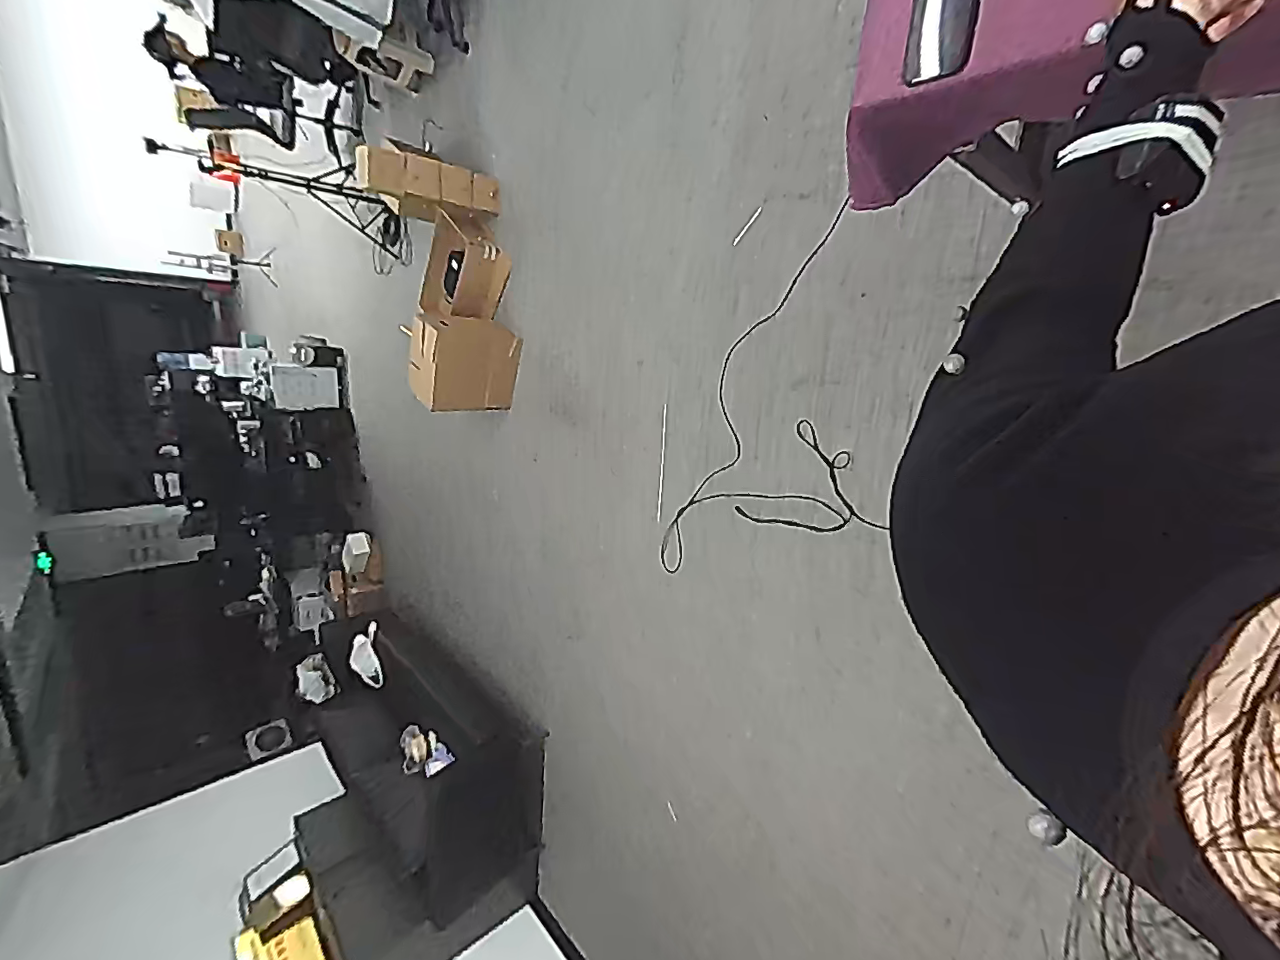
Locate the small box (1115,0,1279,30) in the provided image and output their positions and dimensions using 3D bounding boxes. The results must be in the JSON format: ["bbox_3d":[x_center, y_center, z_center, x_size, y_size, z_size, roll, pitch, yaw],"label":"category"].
[{"bbox_3d":[0.514,-0.526,0.443,0.168,0.176,0.179,23,113,42],"label":"small box"}]
